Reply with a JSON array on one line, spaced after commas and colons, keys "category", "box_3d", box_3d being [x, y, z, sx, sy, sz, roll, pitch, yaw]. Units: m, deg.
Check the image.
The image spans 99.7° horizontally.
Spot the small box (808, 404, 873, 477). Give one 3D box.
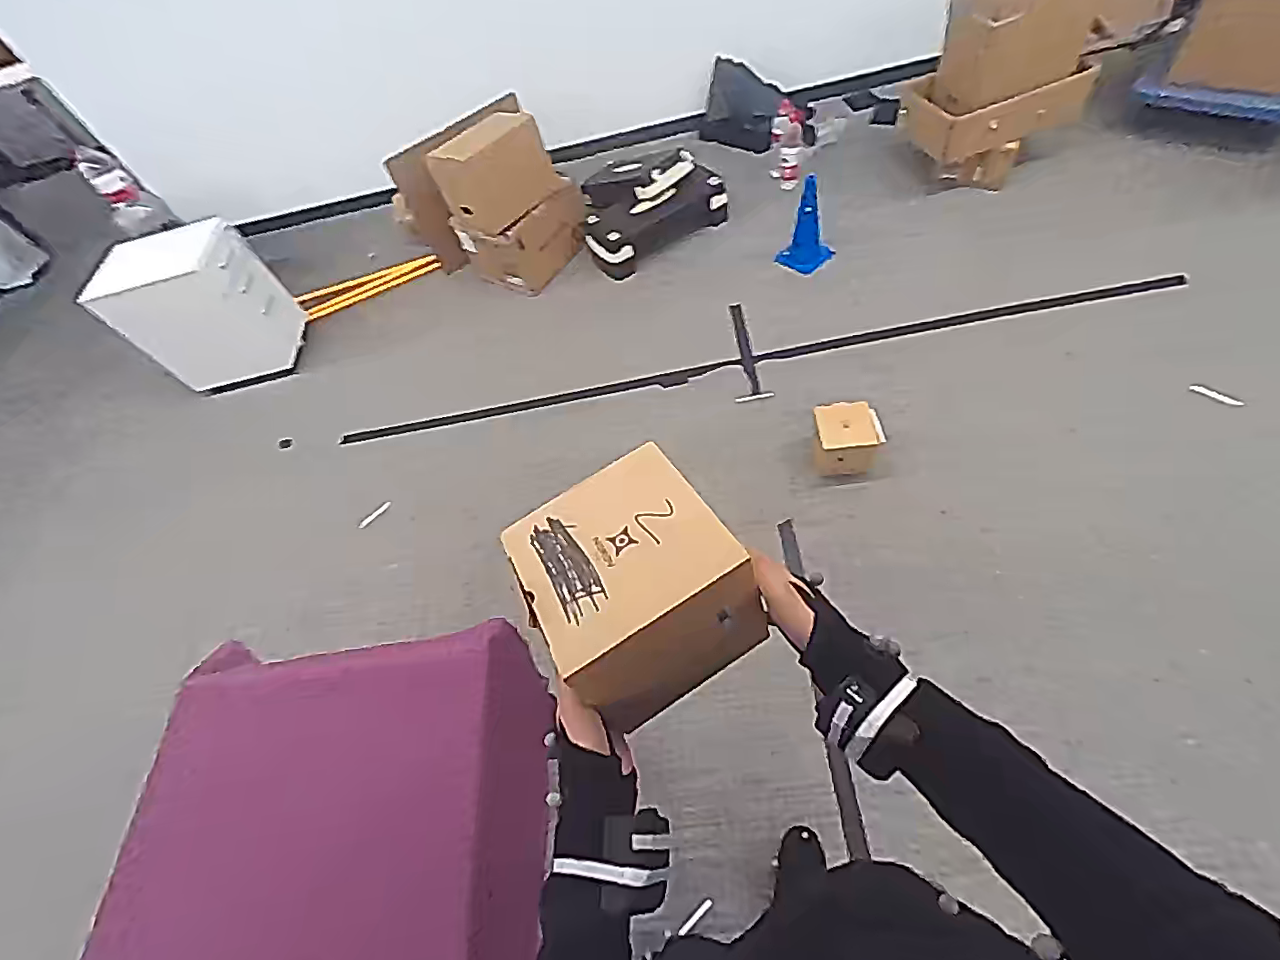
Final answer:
[{"category": "small box", "box_3d": [0.656, -0.122, 1.784, 0.168, 0.176, 0.179, -6, 56, 9]}]
